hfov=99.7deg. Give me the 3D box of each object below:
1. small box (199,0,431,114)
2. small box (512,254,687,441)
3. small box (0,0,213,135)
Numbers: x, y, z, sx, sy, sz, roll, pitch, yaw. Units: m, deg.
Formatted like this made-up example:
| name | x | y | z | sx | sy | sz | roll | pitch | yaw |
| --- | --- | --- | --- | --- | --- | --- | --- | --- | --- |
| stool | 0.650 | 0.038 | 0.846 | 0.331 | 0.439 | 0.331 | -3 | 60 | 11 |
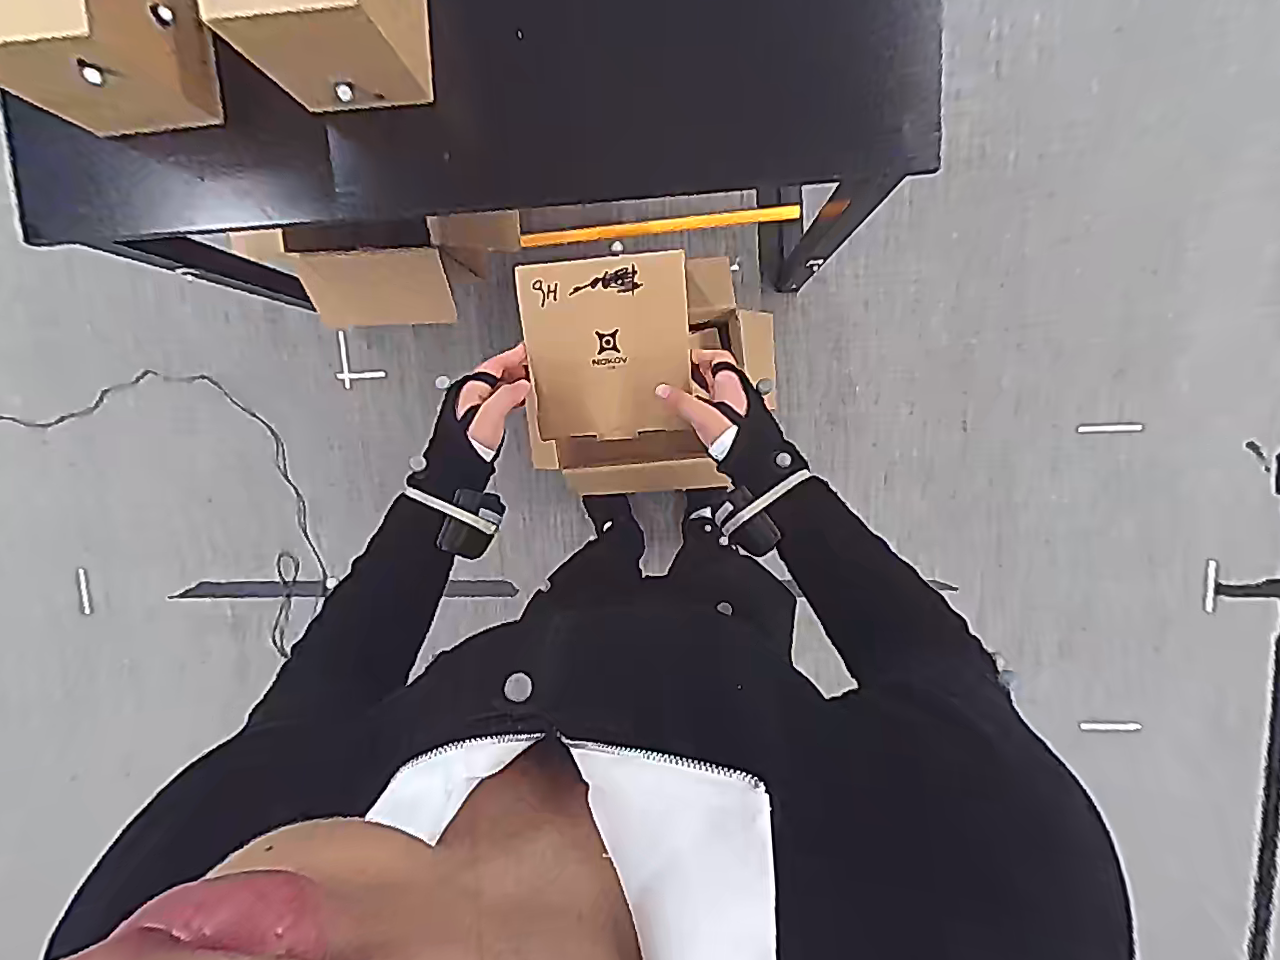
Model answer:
| name | x | y | z | sx | sy | sz | roll | pitch | yaw |
| --- | --- | --- | --- | --- | --- | --- | --- | --- | --- |
| small box | -0.351 | -0.550 | 0.603 | 0.168 | 0.176 | 0.179 | -2 | 97 | 4 |
| small box | -0.032 | -0.154 | 0.614 | 0.168 | 0.176 | 0.179 | -4 | 109 | 3 |
| small box | -0.635 | -0.529 | 0.621 | 0.179 | 0.176 | 0.168 | -3 | 96 | 3 |
